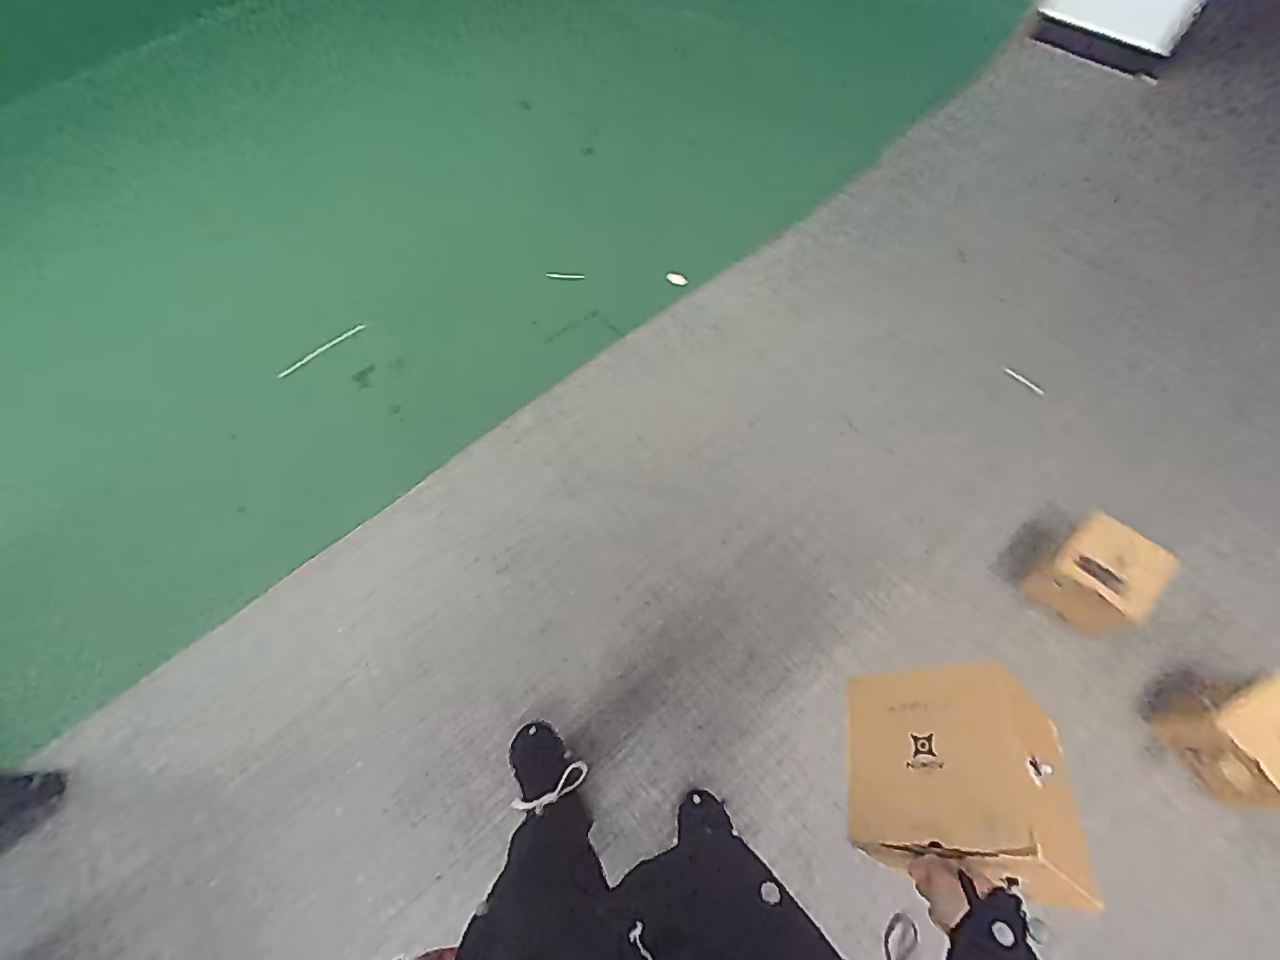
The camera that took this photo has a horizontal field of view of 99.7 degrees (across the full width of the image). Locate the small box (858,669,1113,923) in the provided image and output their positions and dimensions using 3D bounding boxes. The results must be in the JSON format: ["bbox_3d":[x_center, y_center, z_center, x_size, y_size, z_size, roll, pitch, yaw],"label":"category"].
[{"bbox_3d":[0.346,0.324,0.561,0.168,0.176,0.179,-25,32,39],"label":"small box"}]

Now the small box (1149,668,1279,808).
[{"bbox_3d":[1.122,0.472,0.999,0.179,0.176,0.168,-29,65,-8],"label":"small box"}]
